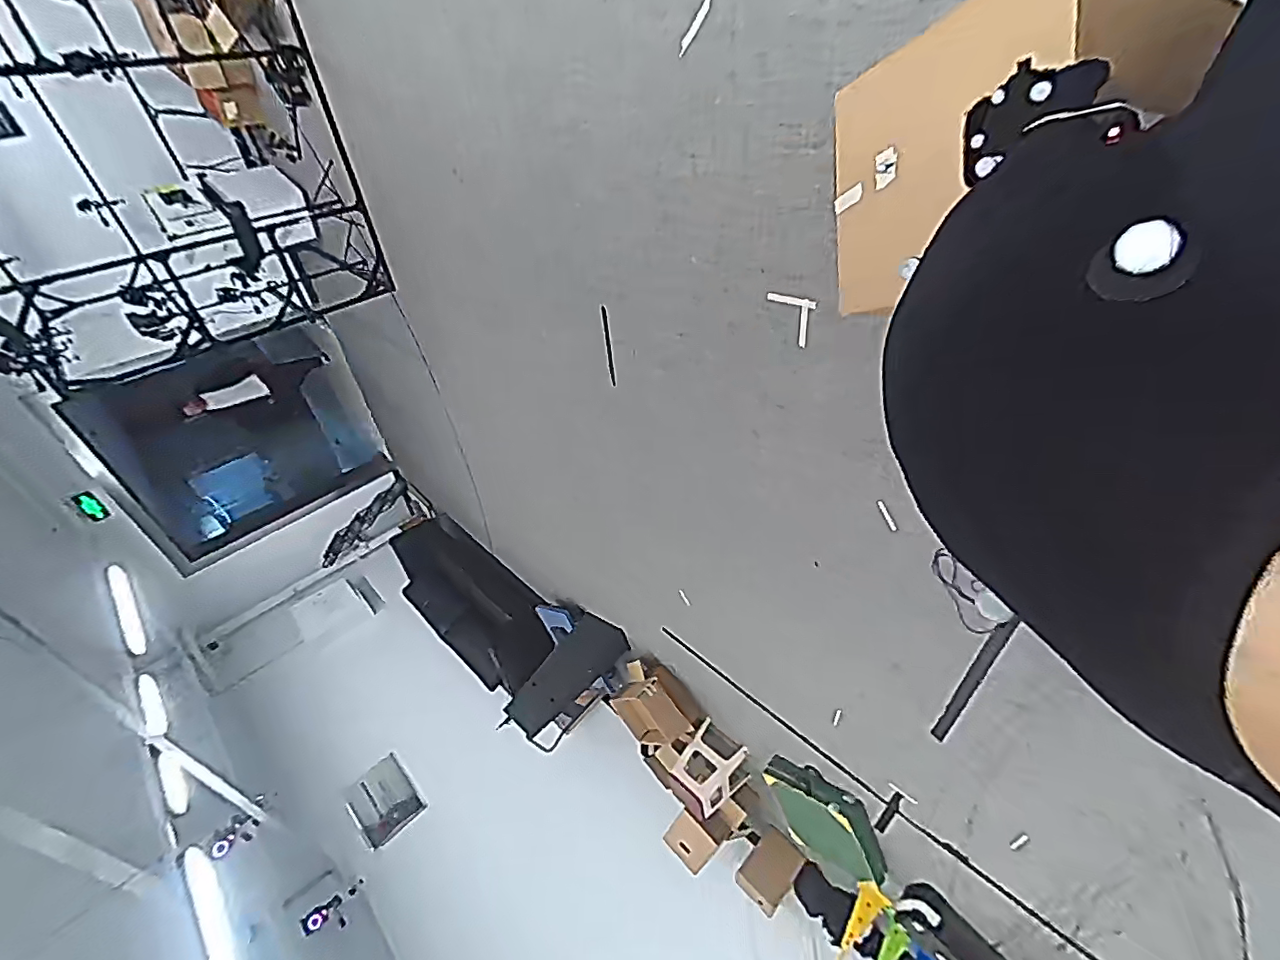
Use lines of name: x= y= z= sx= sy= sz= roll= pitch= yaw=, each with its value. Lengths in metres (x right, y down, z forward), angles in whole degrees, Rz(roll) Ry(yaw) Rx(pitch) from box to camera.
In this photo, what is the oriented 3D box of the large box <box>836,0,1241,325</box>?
large box: x=0.540 y=-0.407 z=0.762 sx=0.320 sy=0.408 sz=0.320 roll=14 pitch=112 yaw=62
